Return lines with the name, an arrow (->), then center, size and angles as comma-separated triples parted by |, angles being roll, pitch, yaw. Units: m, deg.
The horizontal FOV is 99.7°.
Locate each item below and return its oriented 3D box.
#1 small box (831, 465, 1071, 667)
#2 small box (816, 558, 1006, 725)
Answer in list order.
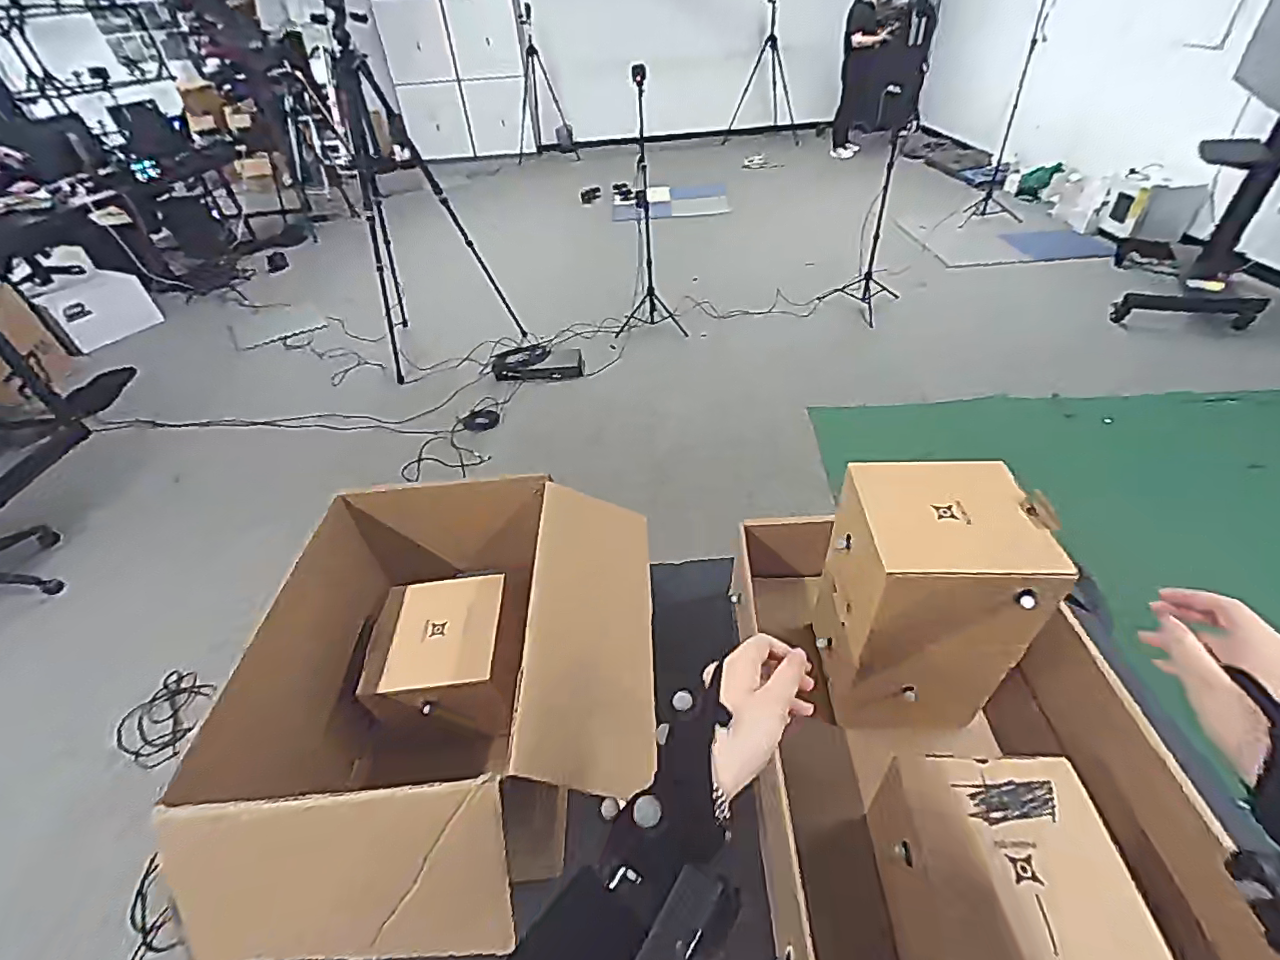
small box -> 0.328, 0.099, 0.622 | 0.179, 0.176, 0.168 | 0, 43, 5
small box -> 0.344, 0.218, 0.733 | 0.179, 0.176, 0.168 | -3, 43, 5
